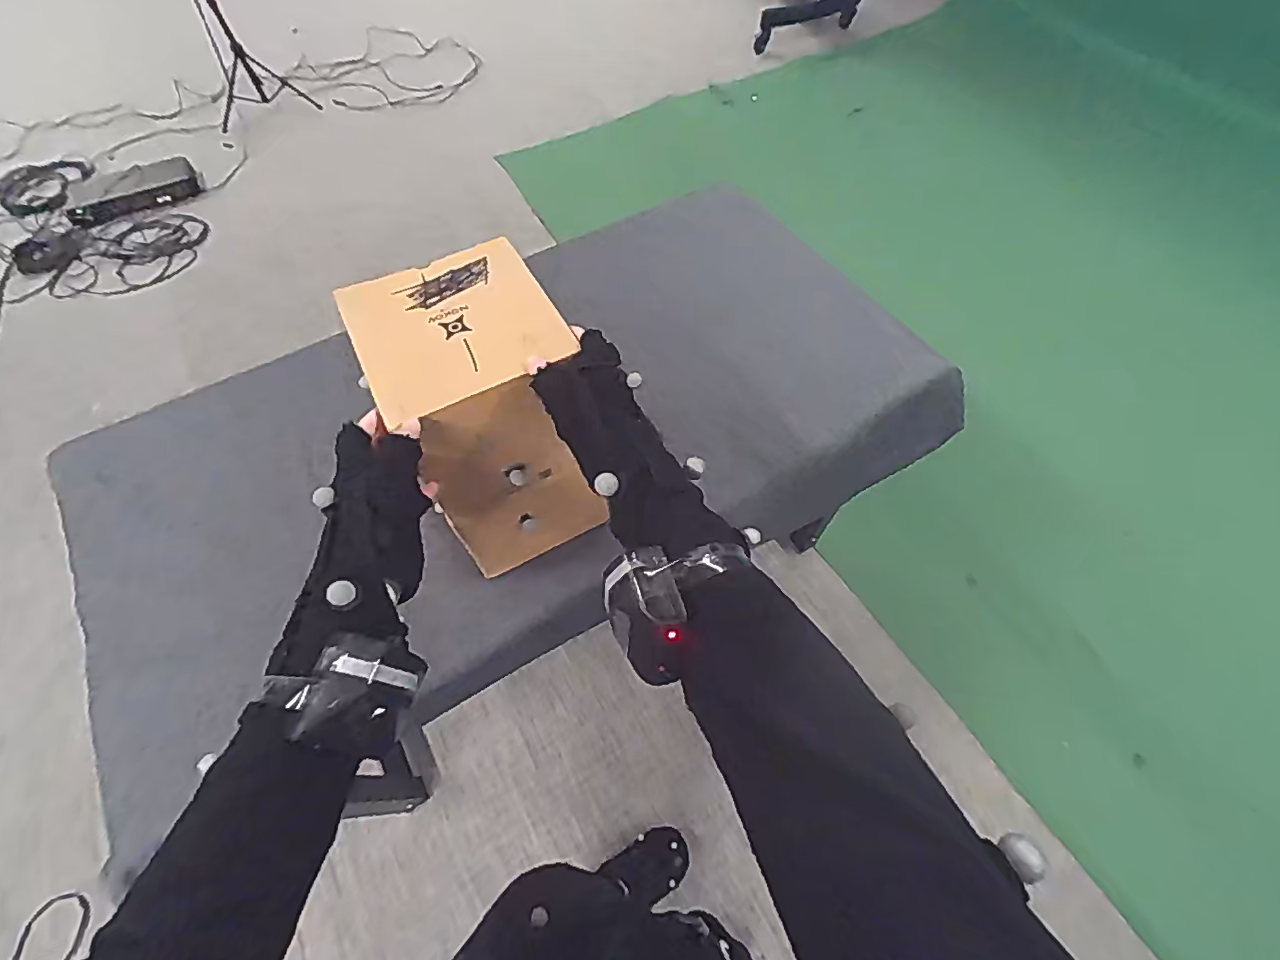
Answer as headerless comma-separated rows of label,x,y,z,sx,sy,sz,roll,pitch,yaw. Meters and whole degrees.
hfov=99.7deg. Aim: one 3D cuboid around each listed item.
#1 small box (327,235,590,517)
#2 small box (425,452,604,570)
small box,-0.164,-0.096,0.527,0.168,0.176,0.179,-29,62,-14
small box,-0.160,-0.015,0.670,0.179,0.176,0.168,-27,63,-13
